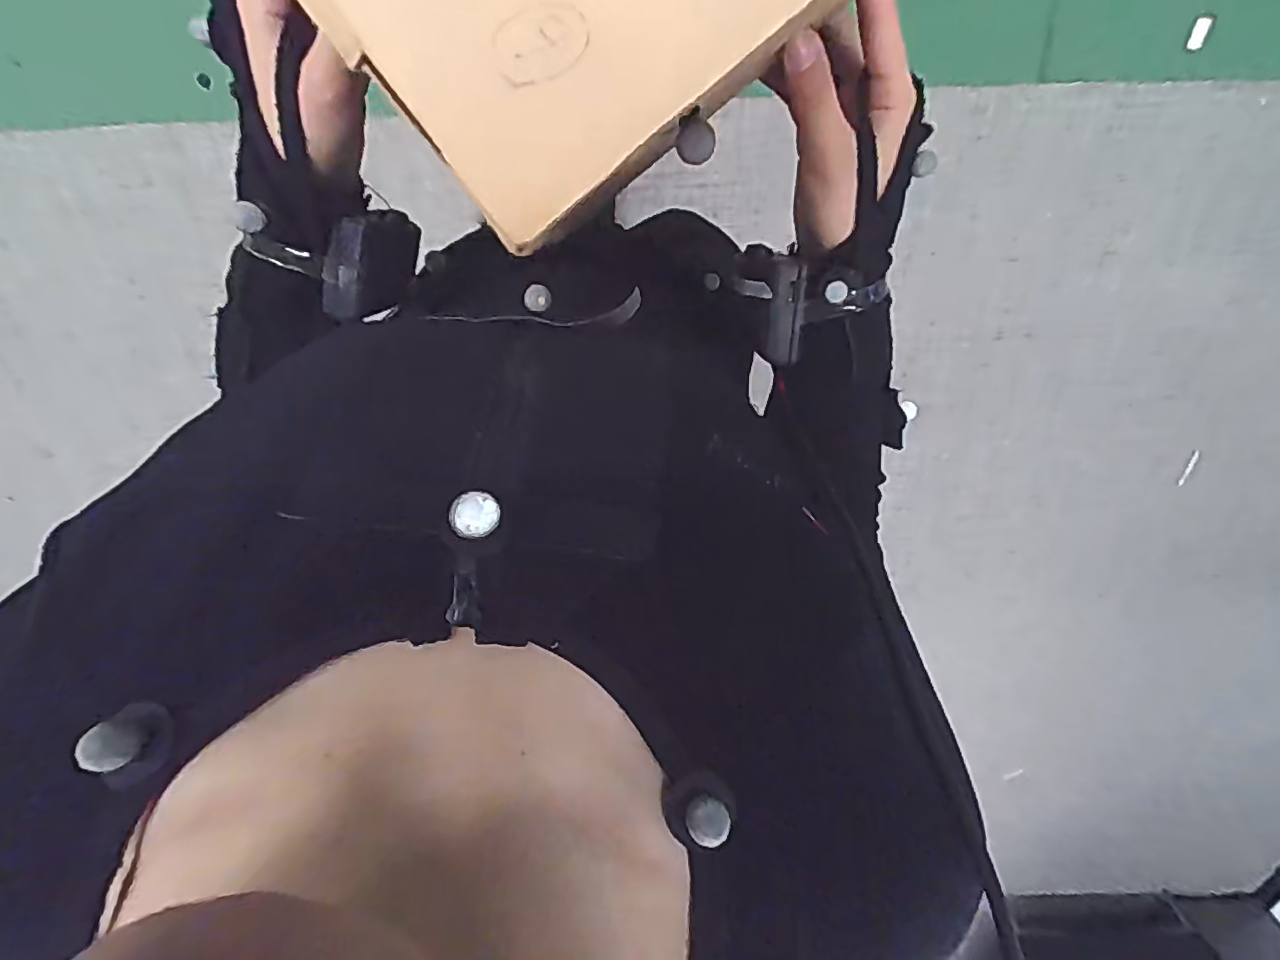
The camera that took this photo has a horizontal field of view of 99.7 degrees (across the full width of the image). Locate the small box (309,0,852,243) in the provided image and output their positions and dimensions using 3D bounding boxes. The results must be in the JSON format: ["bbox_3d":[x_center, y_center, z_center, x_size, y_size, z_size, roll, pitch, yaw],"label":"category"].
[{"bbox_3d":[-0.019,-0.207,0.185,0.179,0.176,0.168,-33,112,14],"label":"small box"}]
